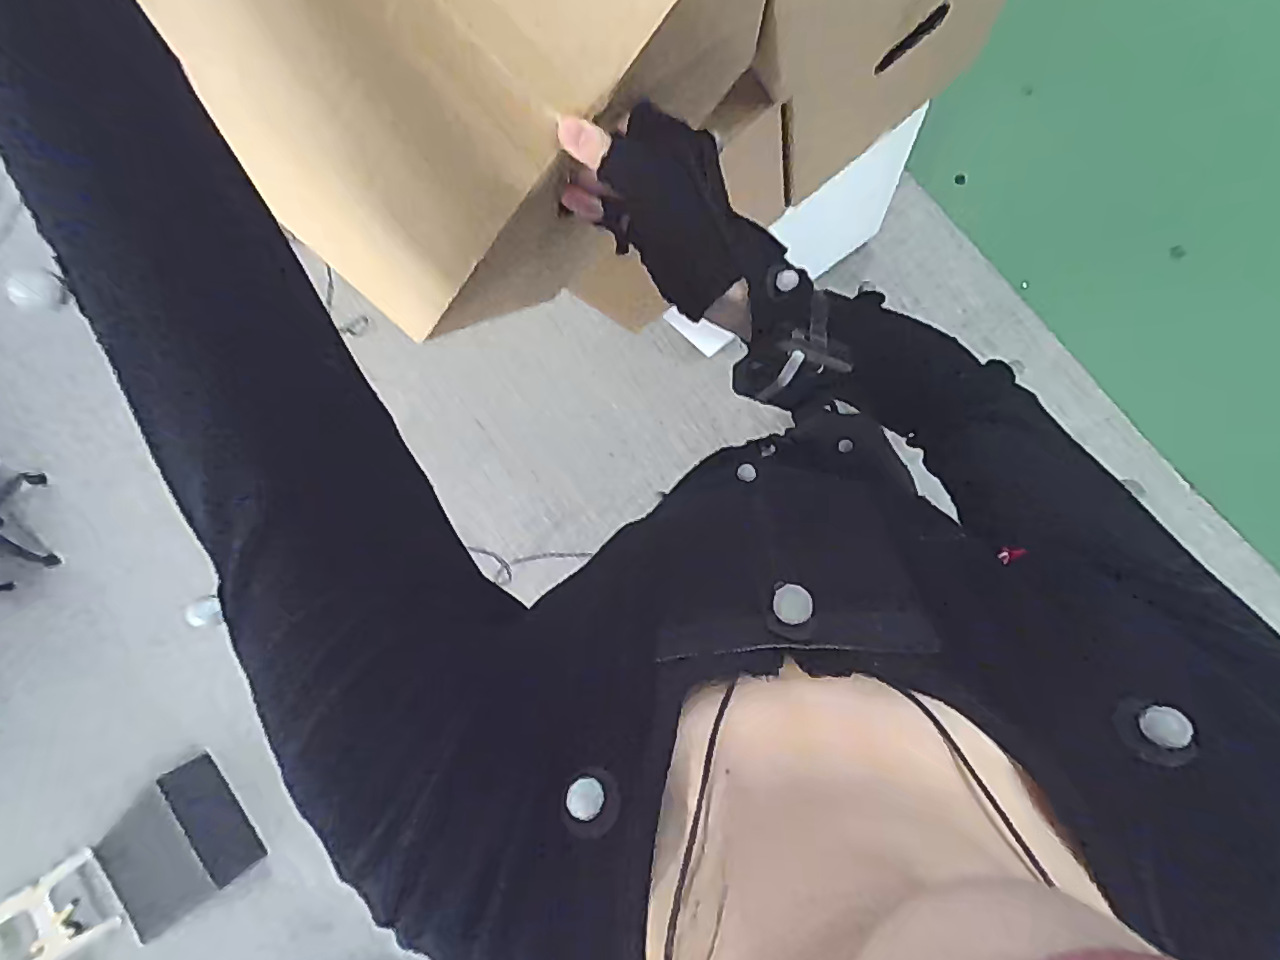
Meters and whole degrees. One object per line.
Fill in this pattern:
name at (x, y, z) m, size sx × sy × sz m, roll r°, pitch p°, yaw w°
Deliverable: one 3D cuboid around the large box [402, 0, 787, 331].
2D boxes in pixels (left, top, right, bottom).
large box at (-0.038, -0.489, 0.776) m, size 0.320 × 0.320 × 0.408 m, roll -36°, pitch 83°, yaw 16°
